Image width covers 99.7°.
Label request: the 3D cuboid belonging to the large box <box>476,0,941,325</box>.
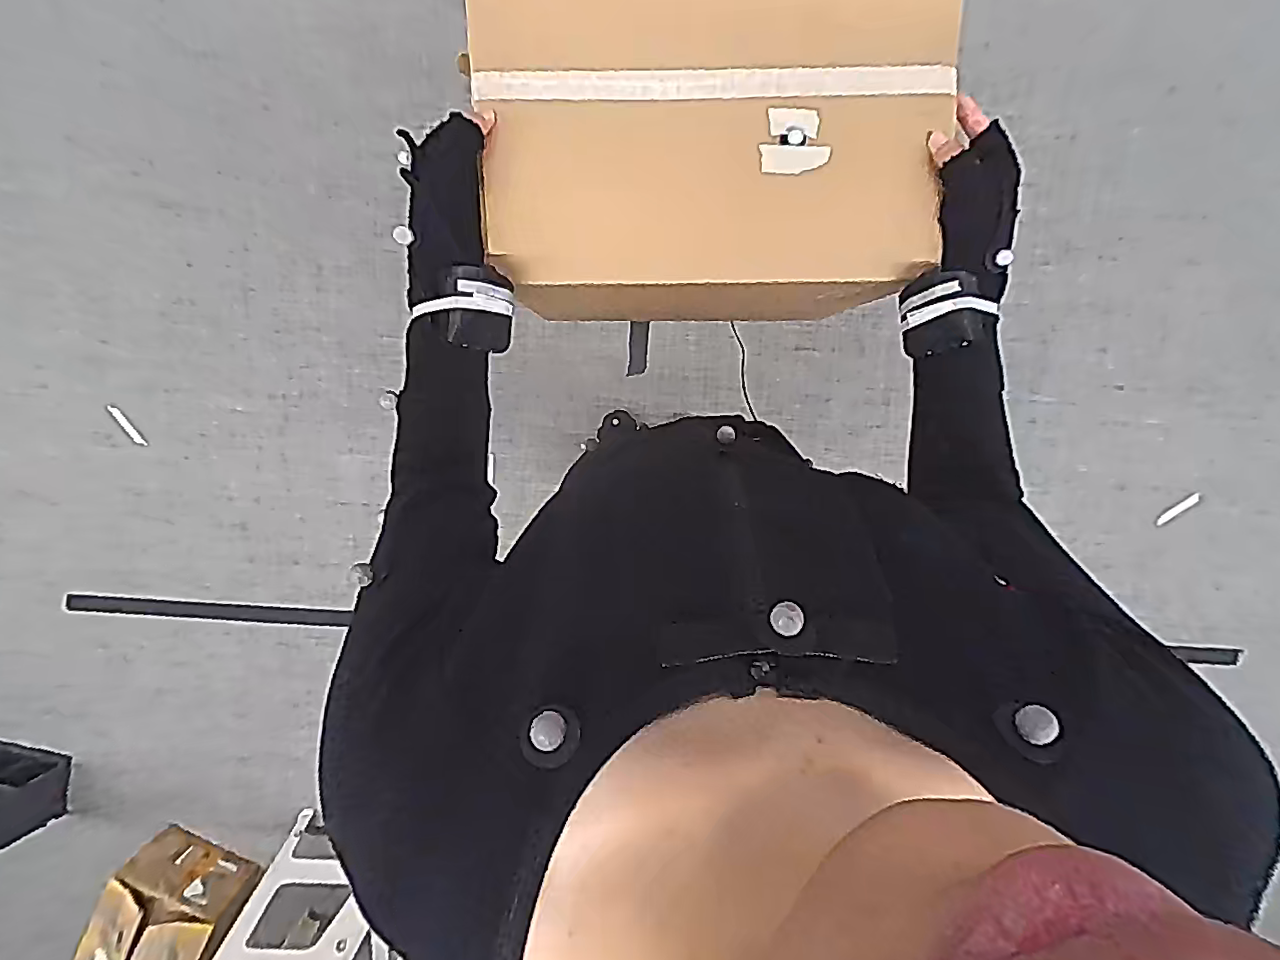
[{"bbox_3d":[0.057,-0.359,0.620,0.408,0.320,0.320,-1,101,-1],"label":"large box"}]
